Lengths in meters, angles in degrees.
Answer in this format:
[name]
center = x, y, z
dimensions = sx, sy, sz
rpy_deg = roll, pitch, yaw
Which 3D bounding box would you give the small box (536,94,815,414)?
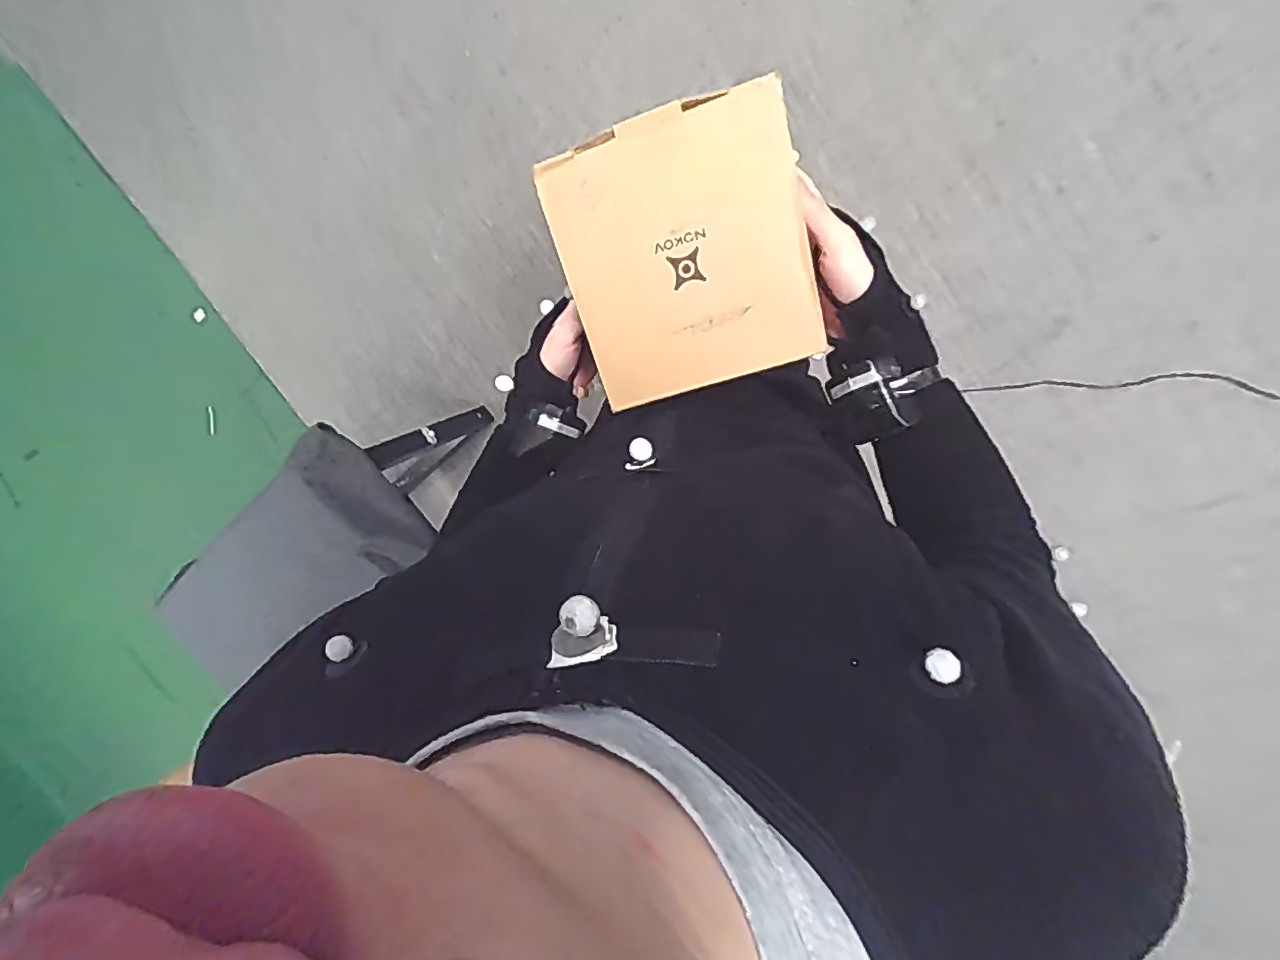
[small box]
center = 0.035, -0.177, 0.450
dimensions = 0.168, 0.176, 0.179
rpy_deg = -13, 114, 11
